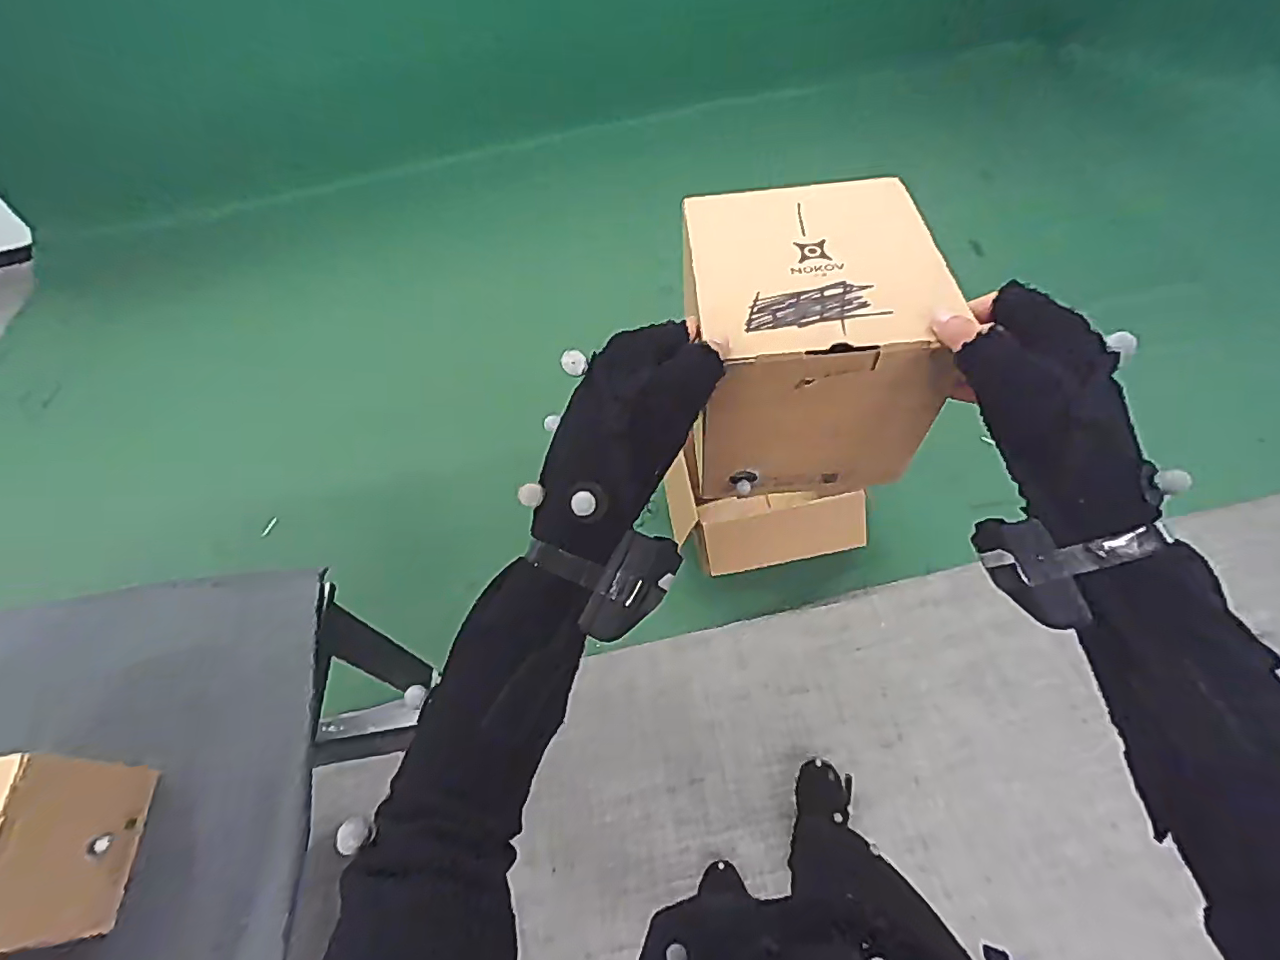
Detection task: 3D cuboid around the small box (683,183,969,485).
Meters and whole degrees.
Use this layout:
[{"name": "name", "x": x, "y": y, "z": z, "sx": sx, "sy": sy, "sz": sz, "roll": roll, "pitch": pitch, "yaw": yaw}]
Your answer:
[{"name": "small box", "x": 0.124, "y": -0.106, "z": 0.441, "sx": 0.168, "sy": 0.176, "sz": 0.179, "roll": -4, "pitch": 56, "yaw": 3}]

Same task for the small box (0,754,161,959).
[{"name": "small box", "x": -0.699, "y": 0.418, "z": 0.591, "sx": 0.179, "sy": 0.176, "sz": 0.168, "roll": -12, "pitch": 54, "yaw": 0}]
